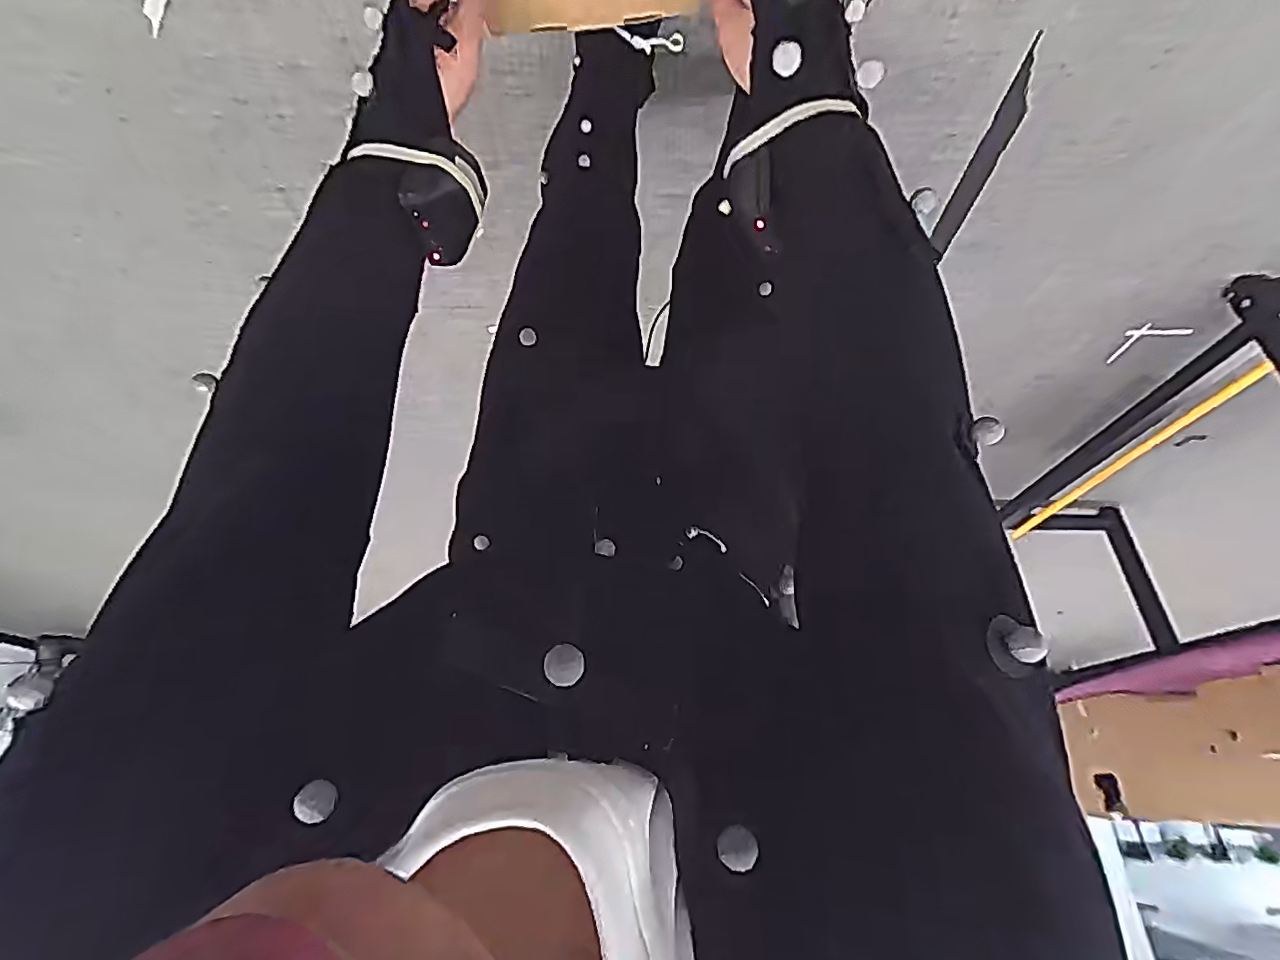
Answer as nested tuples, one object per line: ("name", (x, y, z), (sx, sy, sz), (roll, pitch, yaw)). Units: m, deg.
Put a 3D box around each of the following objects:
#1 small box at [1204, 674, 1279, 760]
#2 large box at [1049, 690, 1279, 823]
("small box", (1.493, 0.557, 1.263), (0.168, 0.176, 0.179), (0, 151, 3))
("large box", (1.516, 0.790, 1.551), (0.408, 0.320, 0.320), (0, 152, 2))
